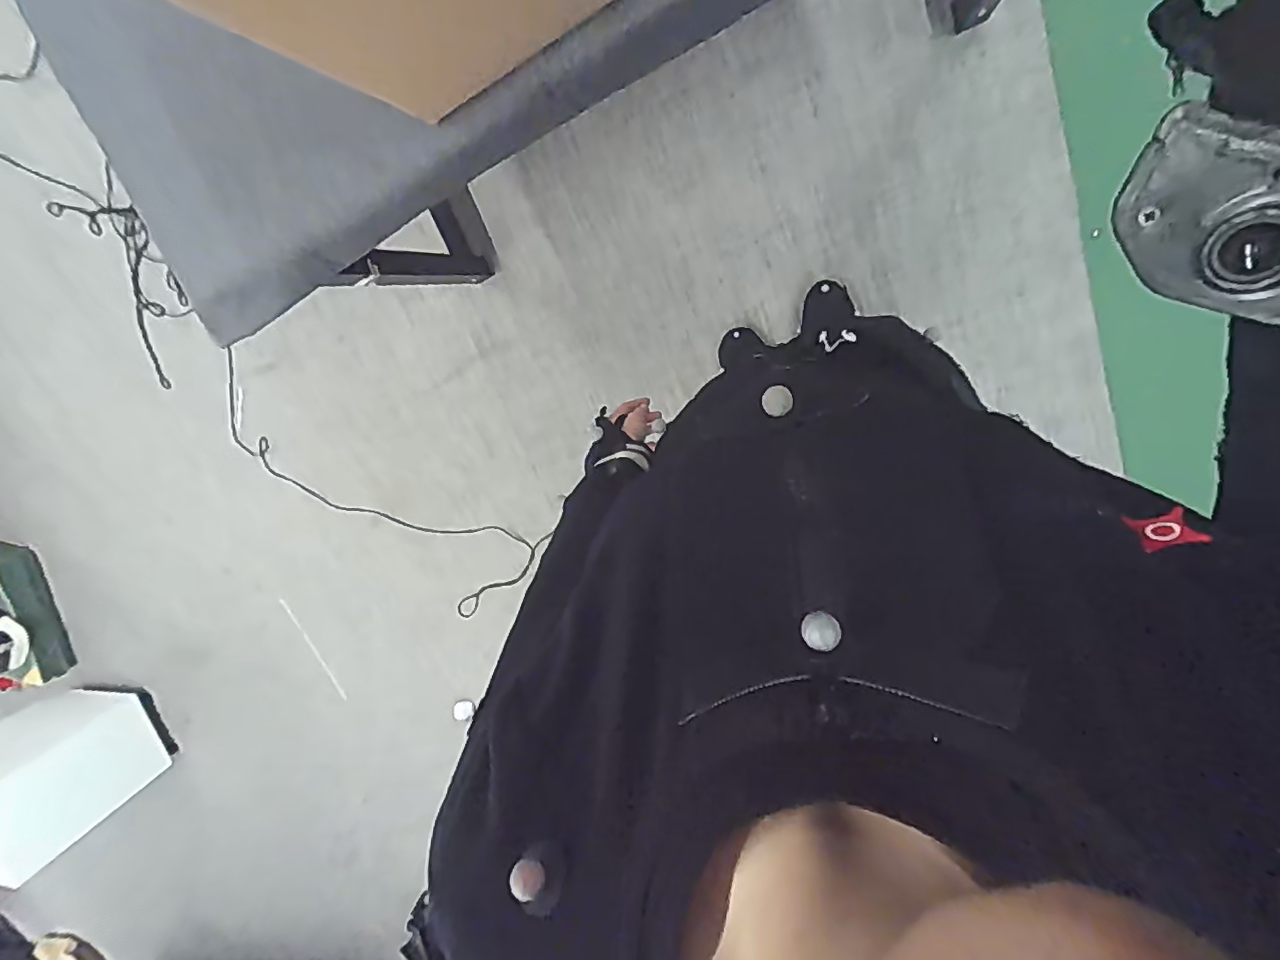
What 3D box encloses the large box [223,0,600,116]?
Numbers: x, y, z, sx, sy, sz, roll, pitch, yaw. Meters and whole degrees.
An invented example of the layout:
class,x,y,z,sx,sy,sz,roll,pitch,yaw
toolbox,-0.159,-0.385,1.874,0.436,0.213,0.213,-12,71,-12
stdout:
class,x,y,z,sx,sy,sz,roll,pitch,yaw
large box,-0.141,-0.538,0.347,0.408,0.320,0.320,-20,102,19
